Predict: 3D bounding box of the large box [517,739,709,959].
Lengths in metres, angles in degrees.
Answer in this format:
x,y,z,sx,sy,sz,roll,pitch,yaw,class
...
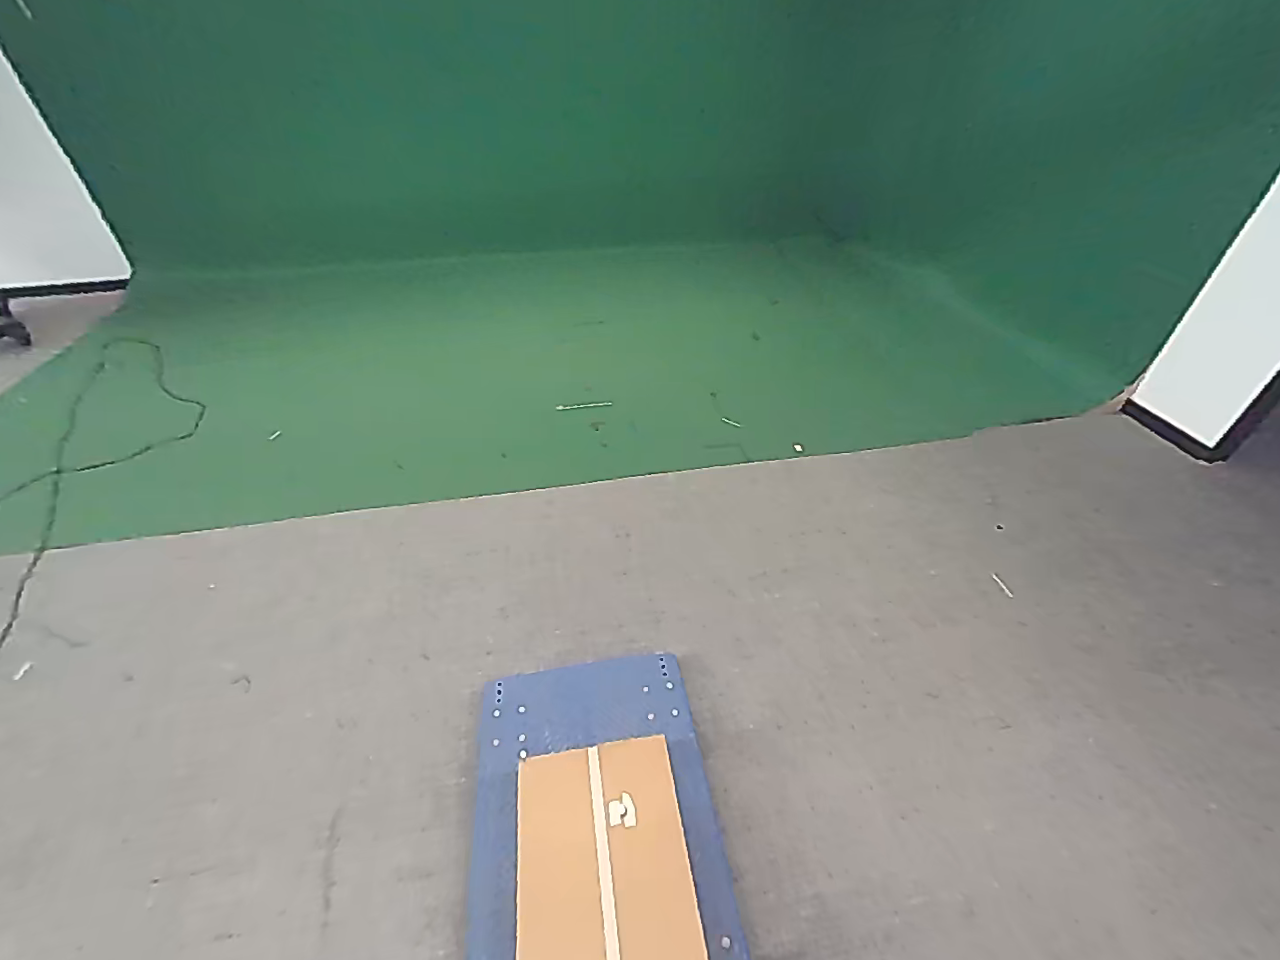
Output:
x,y,z,sx,sy,sz,roll,pitch,yaw,class
-0.065,0.812,1.088,0.320,0.320,0.408,-6,40,-7,large box
